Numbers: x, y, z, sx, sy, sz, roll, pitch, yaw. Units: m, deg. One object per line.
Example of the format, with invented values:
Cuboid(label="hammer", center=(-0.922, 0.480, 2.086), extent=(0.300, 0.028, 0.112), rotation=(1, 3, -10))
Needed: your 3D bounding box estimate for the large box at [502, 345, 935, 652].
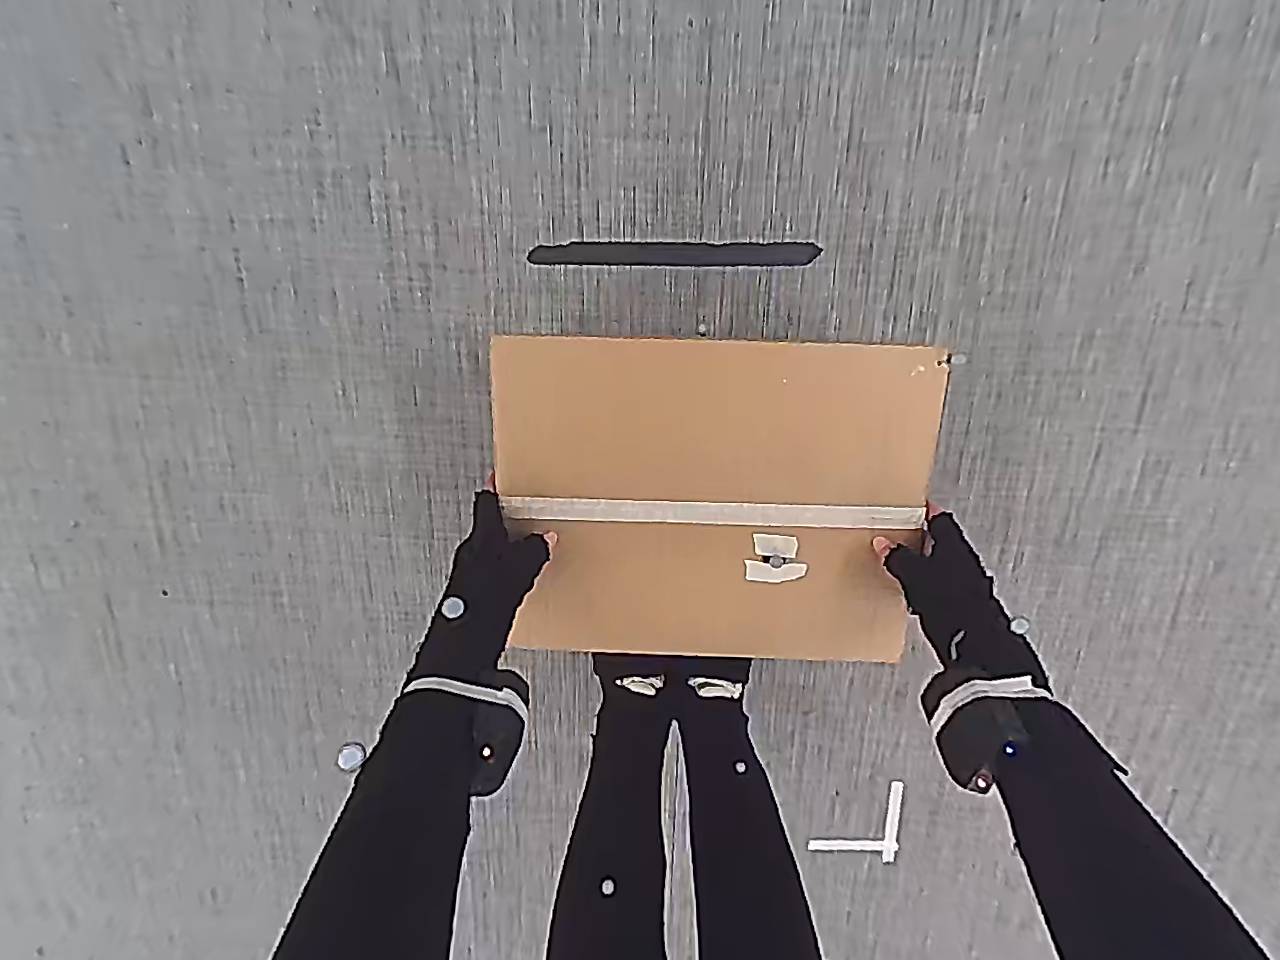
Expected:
Cuboid(label="large box", center=(0.072, -0.006, 0.673), extent=(0.408, 0.320, 0.320), rotation=(1, 105, 1))
